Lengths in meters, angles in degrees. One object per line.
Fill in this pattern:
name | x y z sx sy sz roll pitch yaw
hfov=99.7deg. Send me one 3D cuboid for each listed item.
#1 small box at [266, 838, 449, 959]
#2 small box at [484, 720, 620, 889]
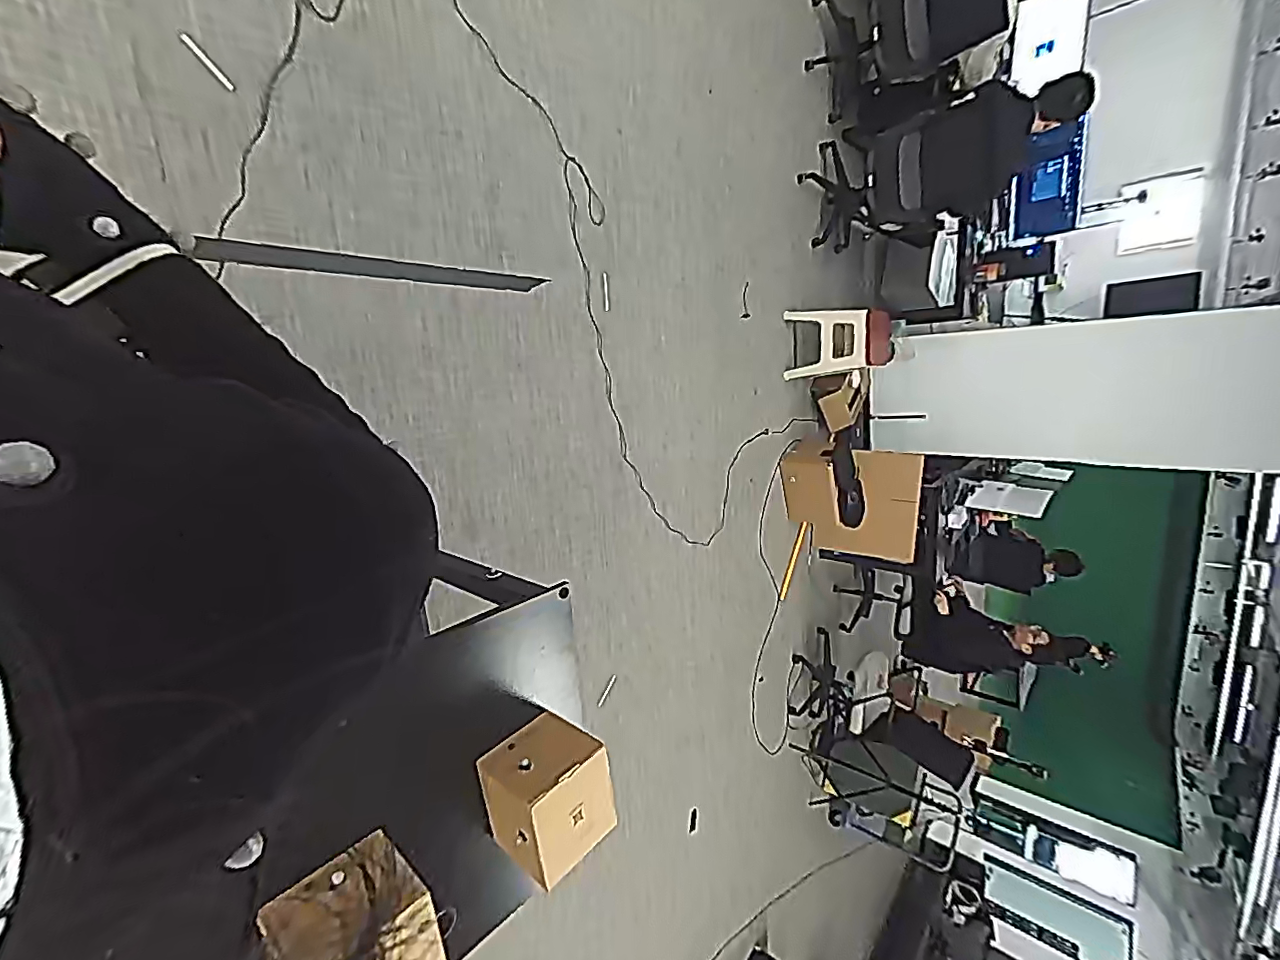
small box | -0.380 0.647 0.739 0.168 0.176 0.179 -19 107 -46
small box | -0.161 0.564 0.975 0.168 0.176 0.179 -22 111 -43
